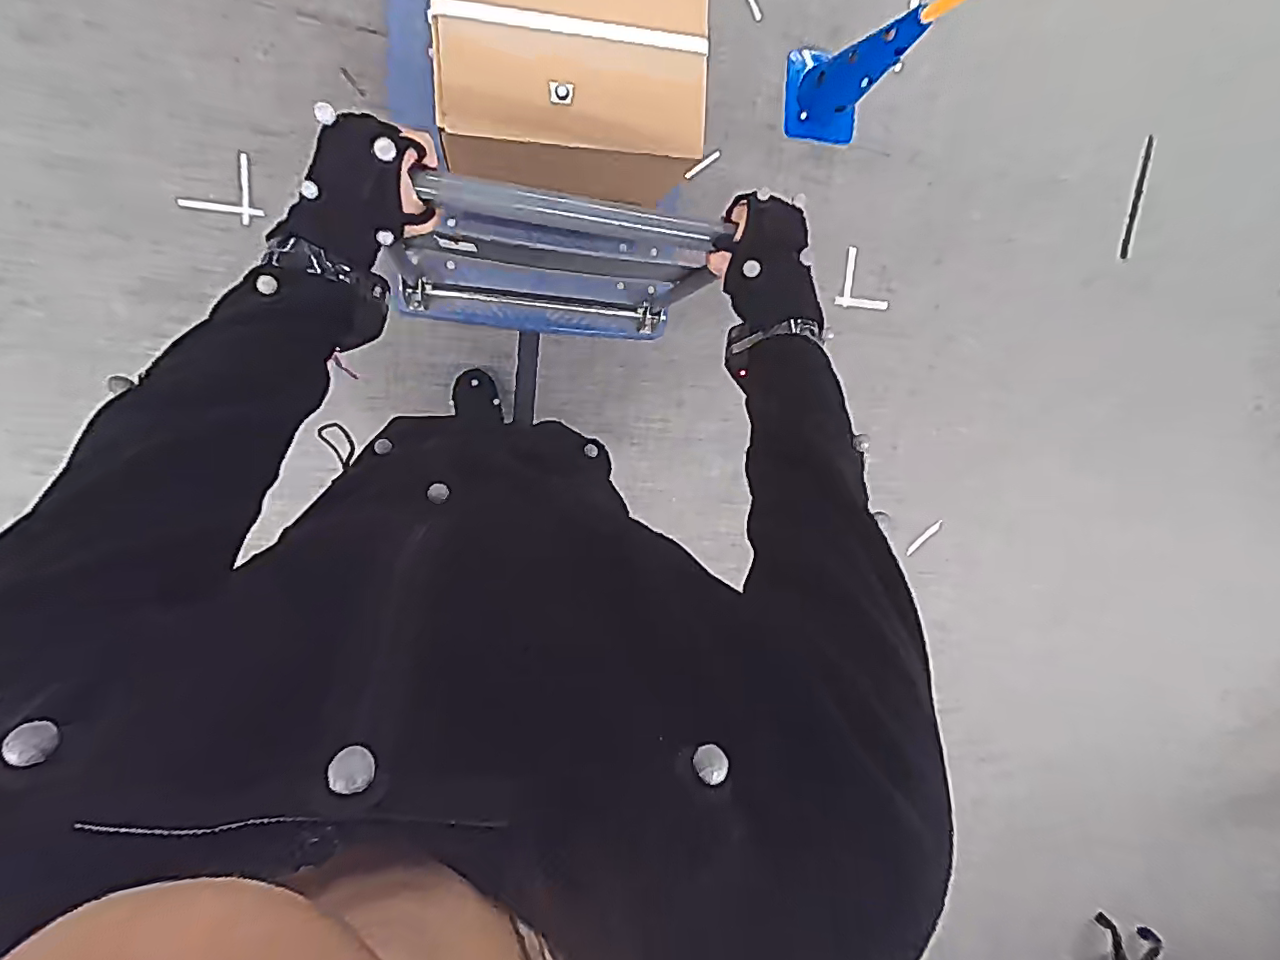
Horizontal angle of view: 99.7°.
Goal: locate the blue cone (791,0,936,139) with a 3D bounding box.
[{"bbox_3d":[0.517,-0.955,1.233,0.193,0.380,0.192,-1,101,-15],"label":"blue cone"}]
